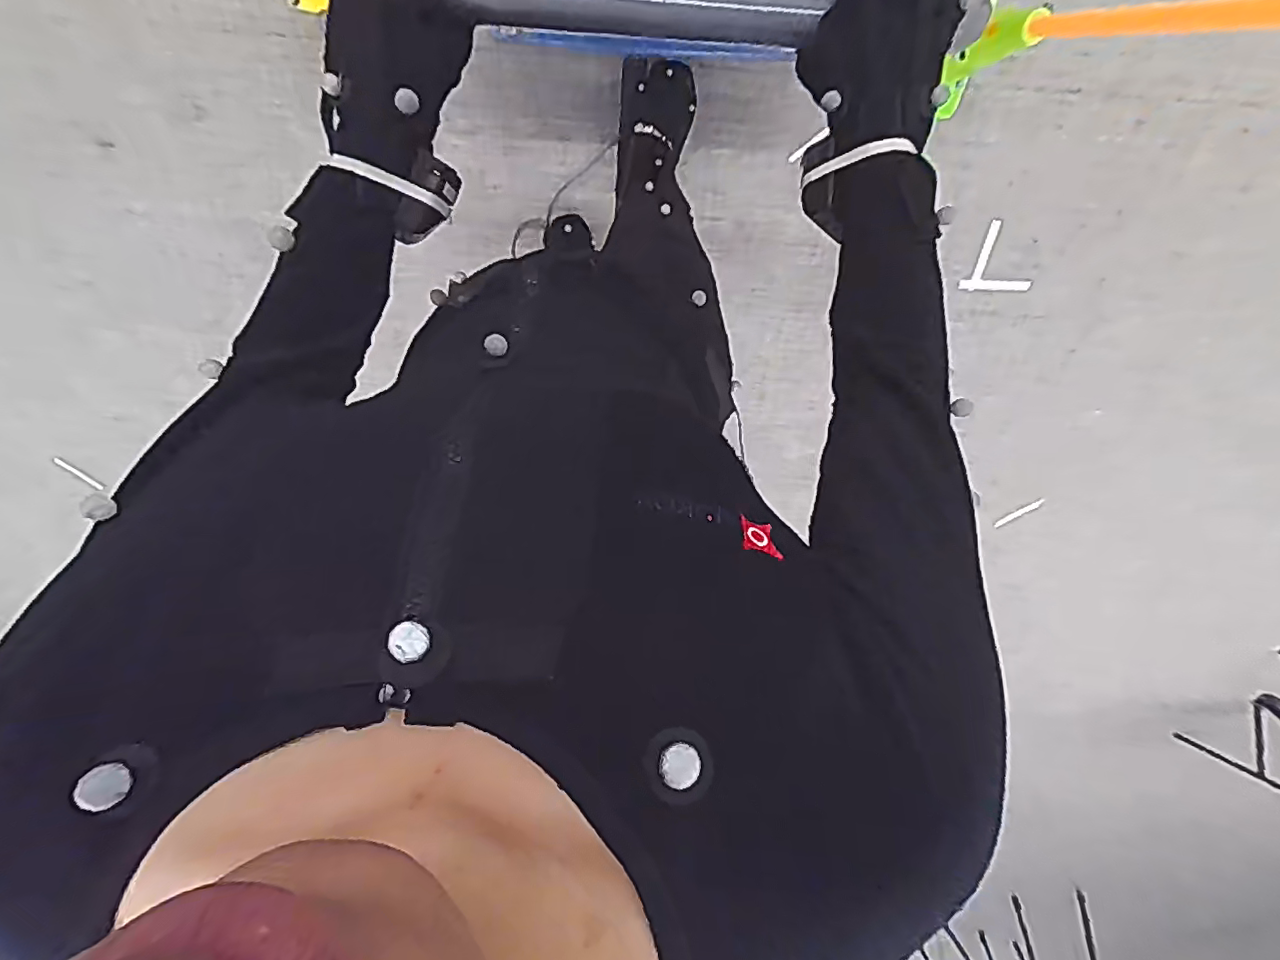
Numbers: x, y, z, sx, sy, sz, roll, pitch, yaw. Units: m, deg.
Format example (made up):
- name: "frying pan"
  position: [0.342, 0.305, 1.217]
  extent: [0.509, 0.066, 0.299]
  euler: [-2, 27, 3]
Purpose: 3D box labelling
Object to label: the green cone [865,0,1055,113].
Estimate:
- name: "green cone"
  position: [0.570, -0.758, 0.926]
  extent: [0.202, 0.368, 0.200]
  euler: [6, 125, -6]
